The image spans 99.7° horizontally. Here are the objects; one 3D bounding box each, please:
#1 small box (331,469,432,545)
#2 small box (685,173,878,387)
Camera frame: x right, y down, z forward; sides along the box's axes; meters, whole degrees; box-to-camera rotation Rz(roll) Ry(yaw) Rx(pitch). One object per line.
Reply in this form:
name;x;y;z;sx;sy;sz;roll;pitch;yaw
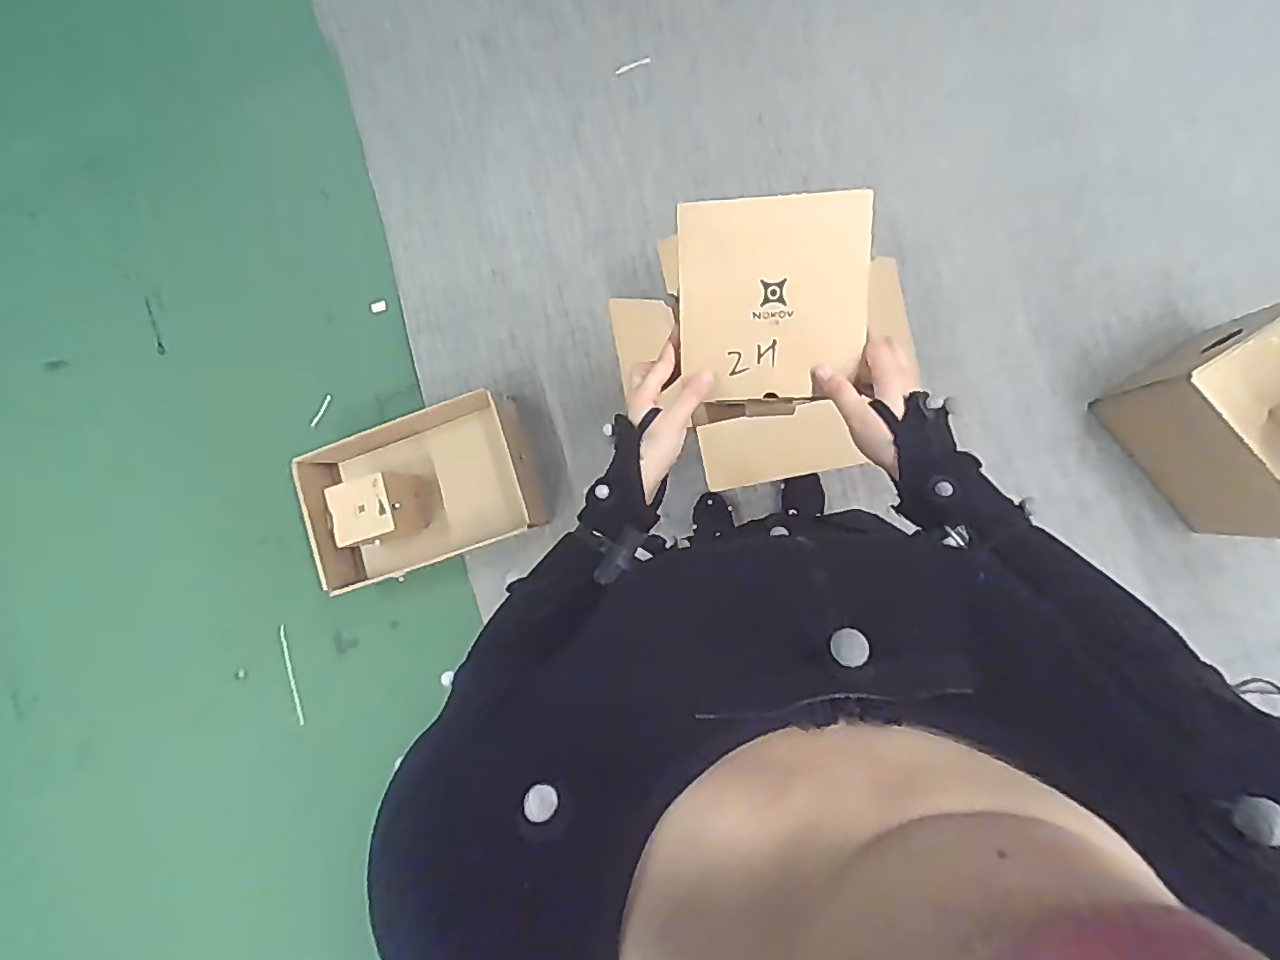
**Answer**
small box;-0.715;0.079;1.508;0.179;0.176;0.168;-17;83;8
small box;0.130;-0.190;0.557;0.168;0.176;0.179;-1;104;7
